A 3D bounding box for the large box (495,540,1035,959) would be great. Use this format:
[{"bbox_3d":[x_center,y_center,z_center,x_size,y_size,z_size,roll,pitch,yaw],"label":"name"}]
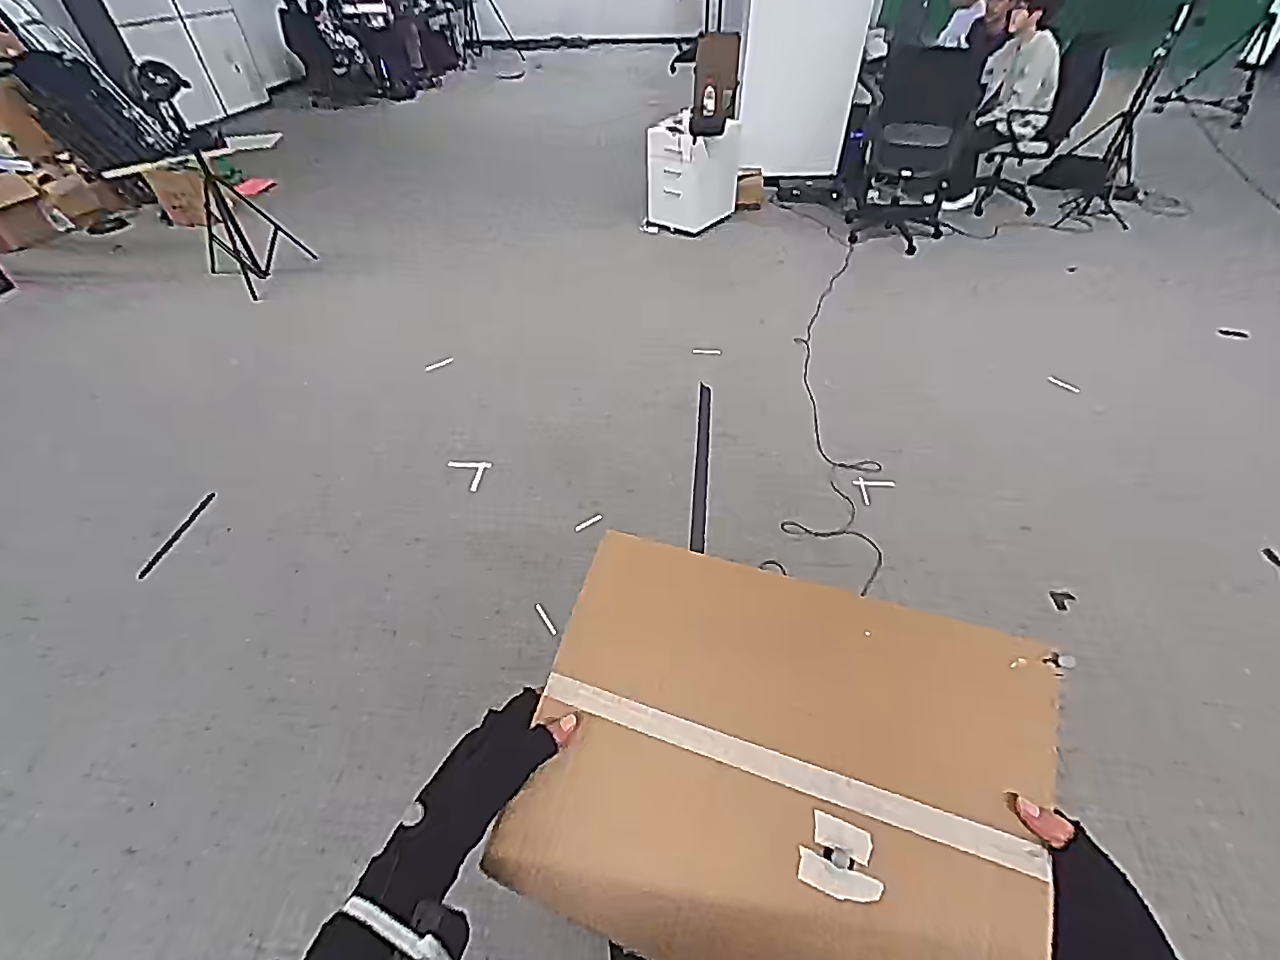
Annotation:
[{"bbox_3d":[0.128,0.298,0.589,0.408,0.320,0.320,13,68,16],"label":"large box"}]
